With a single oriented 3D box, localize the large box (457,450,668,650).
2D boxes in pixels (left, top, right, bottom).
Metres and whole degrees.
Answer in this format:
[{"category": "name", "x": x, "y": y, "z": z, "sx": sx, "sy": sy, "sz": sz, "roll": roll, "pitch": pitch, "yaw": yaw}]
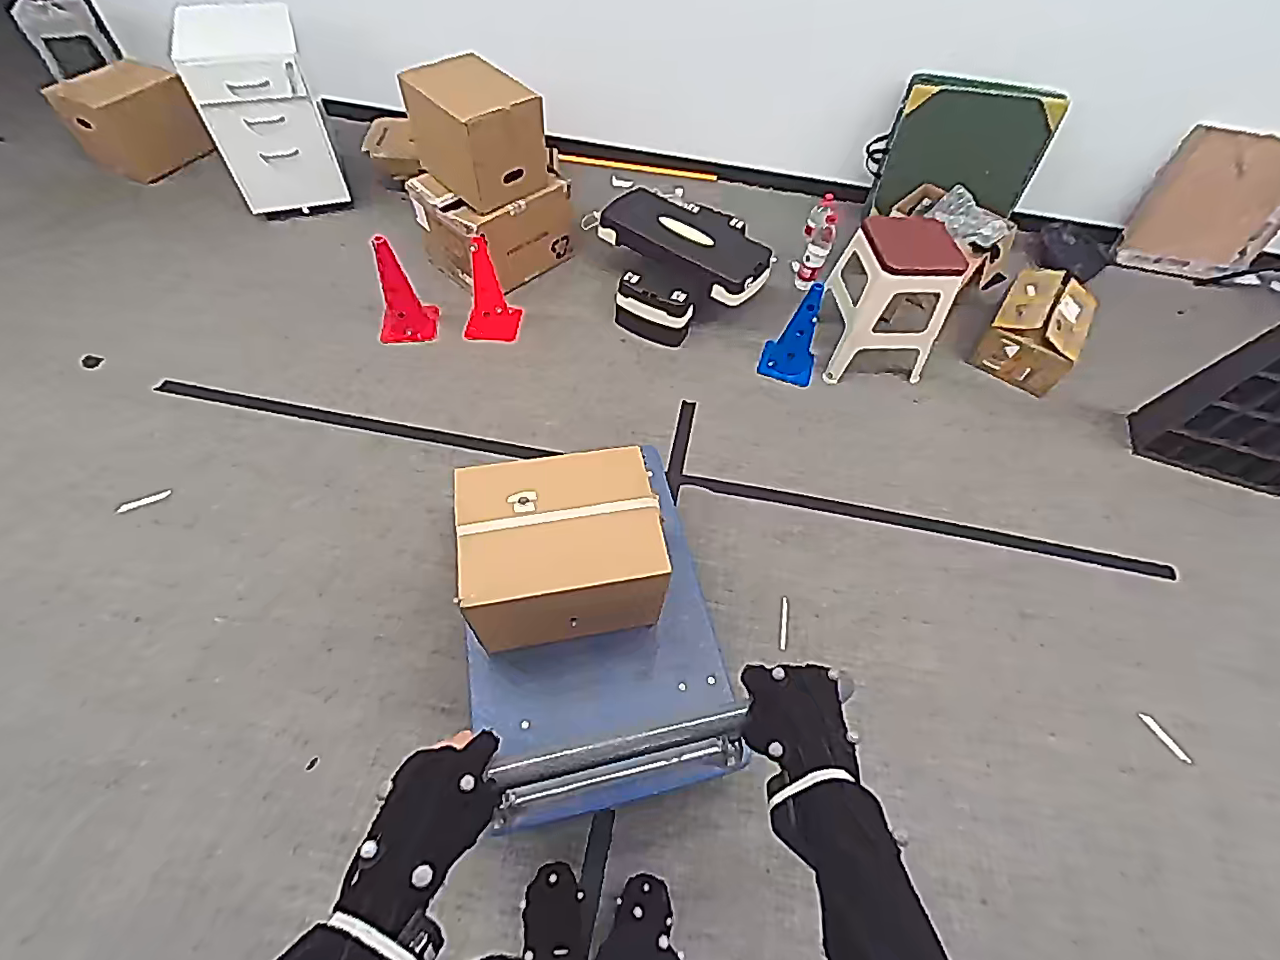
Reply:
[{"category": "large box", "x": -0.174, "y": 0.167, "z": 1.238, "sx": 0.408, "sy": 0.320, "sz": 0.320, "roll": -8, "pitch": 58, "yaw": -9}]
